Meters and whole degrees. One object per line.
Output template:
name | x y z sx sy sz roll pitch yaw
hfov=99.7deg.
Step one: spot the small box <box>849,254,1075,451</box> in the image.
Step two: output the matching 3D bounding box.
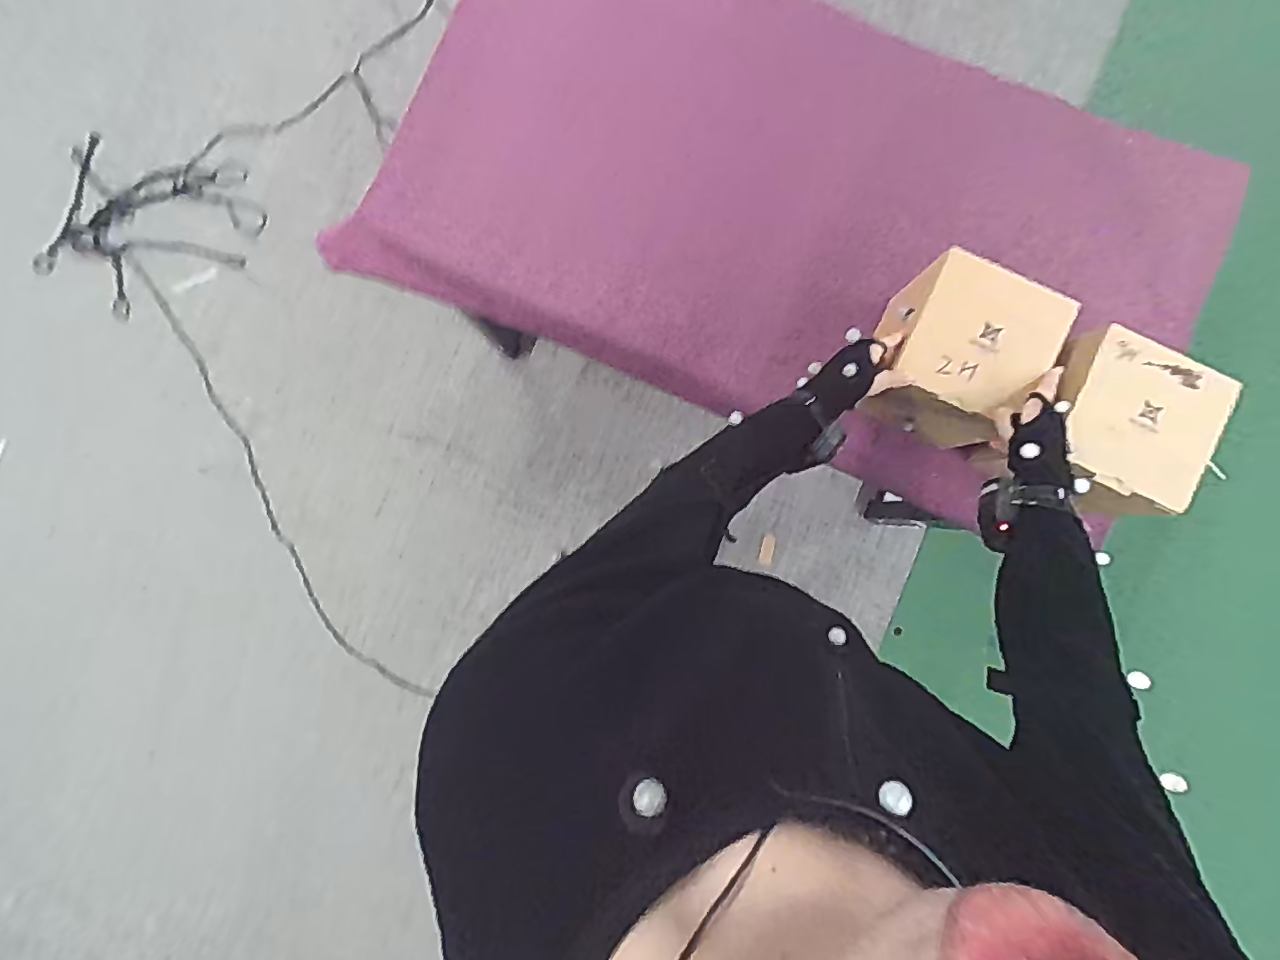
small box | 0.405 -0.154 0.715 0.168 0.176 0.179 26 89 3
